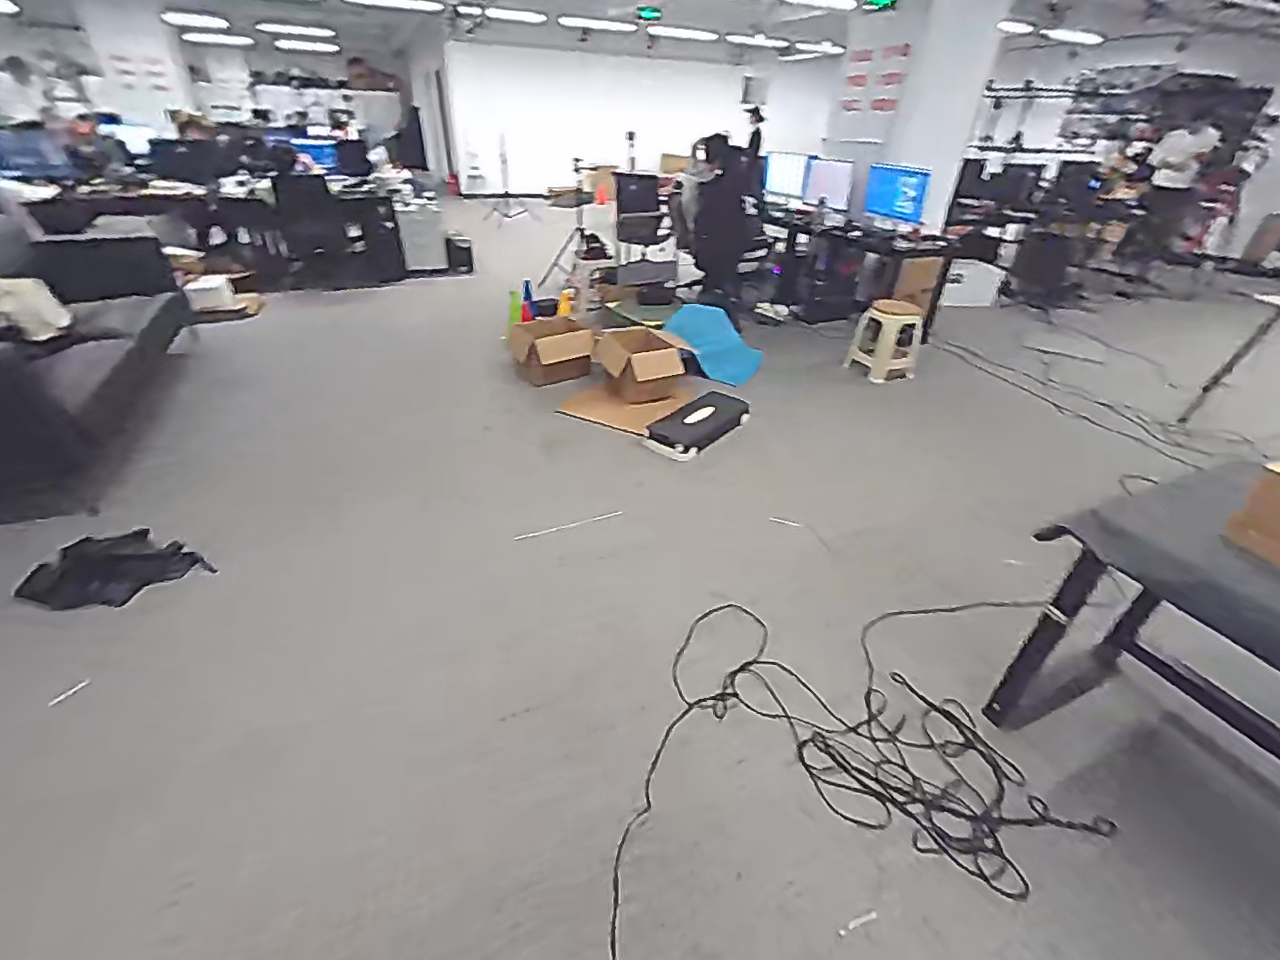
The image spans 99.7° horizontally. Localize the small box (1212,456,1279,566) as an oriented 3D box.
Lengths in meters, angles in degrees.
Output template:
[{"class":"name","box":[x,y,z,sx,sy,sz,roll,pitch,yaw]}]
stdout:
[{"class":"small box","box":[1.288,0.065,1.045,0.168,0.176,0.179,-13,37,-22]}]
